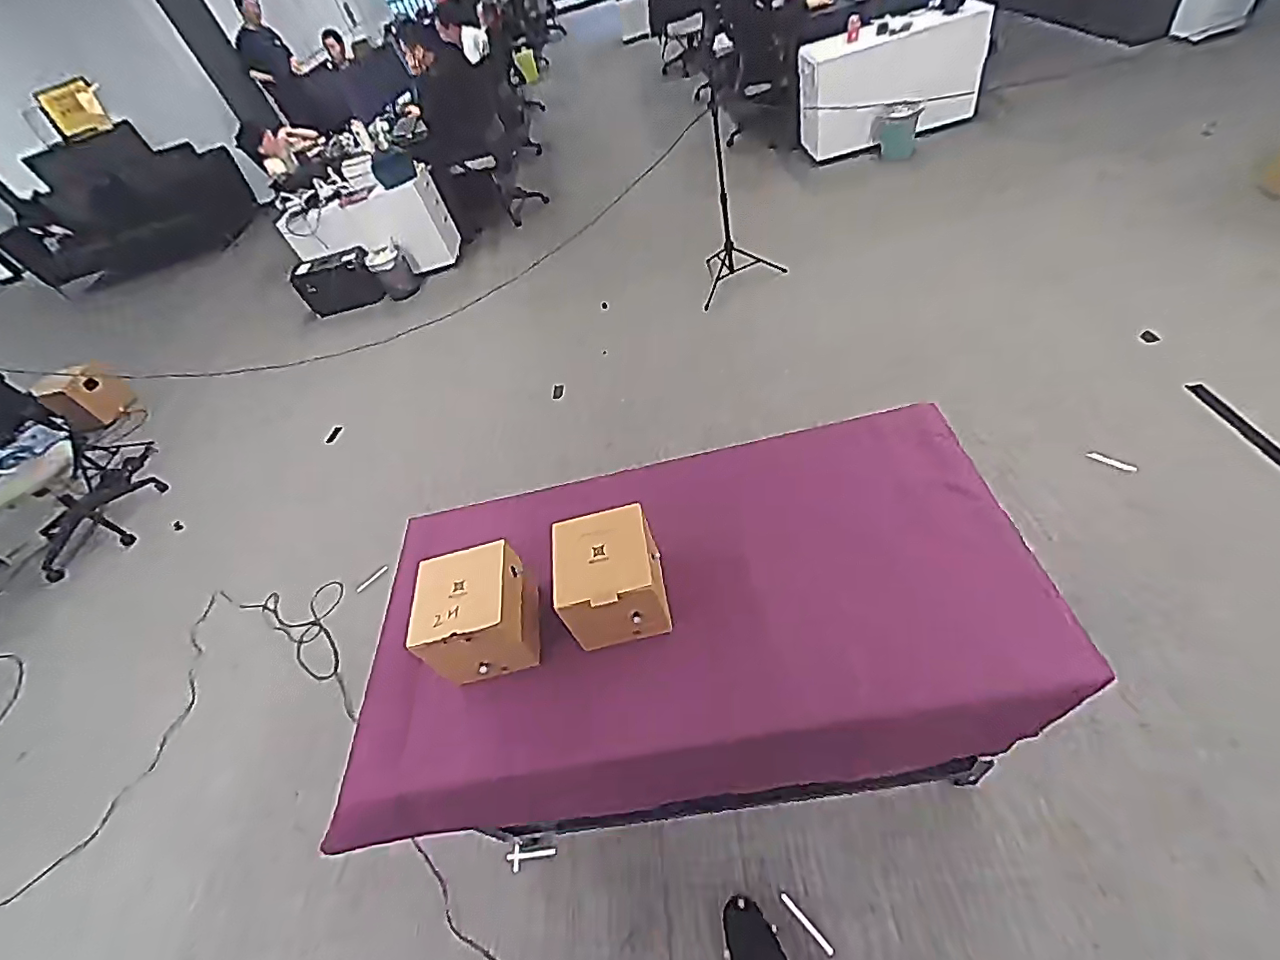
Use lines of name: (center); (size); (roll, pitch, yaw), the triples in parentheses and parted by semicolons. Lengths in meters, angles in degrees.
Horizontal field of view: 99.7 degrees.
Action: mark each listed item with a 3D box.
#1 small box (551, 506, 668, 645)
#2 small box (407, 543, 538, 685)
small box: (-0.053, 0.179, 0.971); (0.168, 0.176, 0.179); (-14, 47, 5)
small box: (-0.294, 0.246, 0.986); (0.168, 0.176, 0.179); (-16, 47, 5)
